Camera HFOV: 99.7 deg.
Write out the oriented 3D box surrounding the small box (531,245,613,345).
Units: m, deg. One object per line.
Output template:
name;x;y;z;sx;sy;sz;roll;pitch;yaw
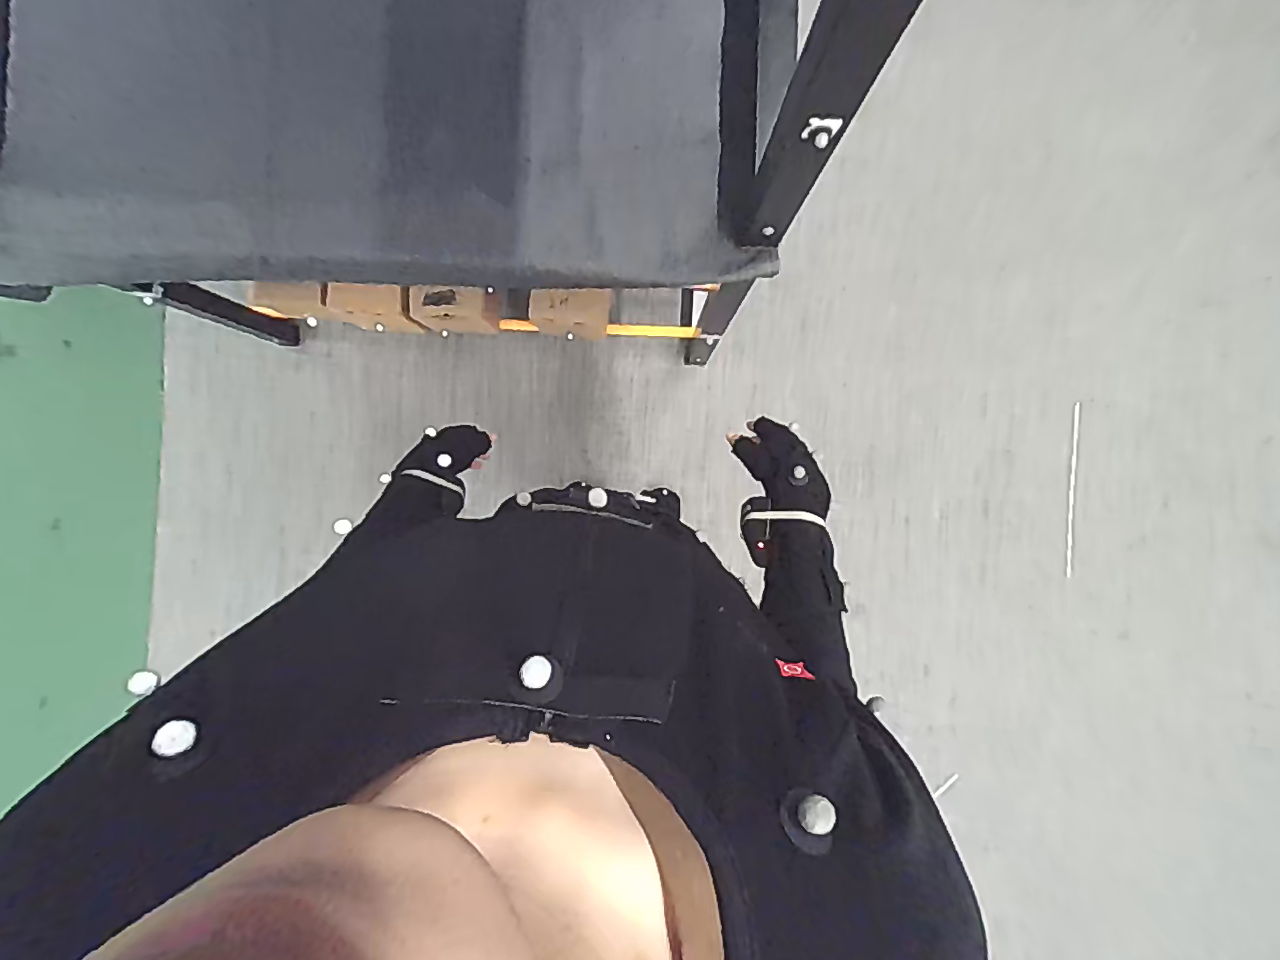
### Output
small box;-0.158;-0.442;1.310;0.168;0.176;0.179;7;92;1
